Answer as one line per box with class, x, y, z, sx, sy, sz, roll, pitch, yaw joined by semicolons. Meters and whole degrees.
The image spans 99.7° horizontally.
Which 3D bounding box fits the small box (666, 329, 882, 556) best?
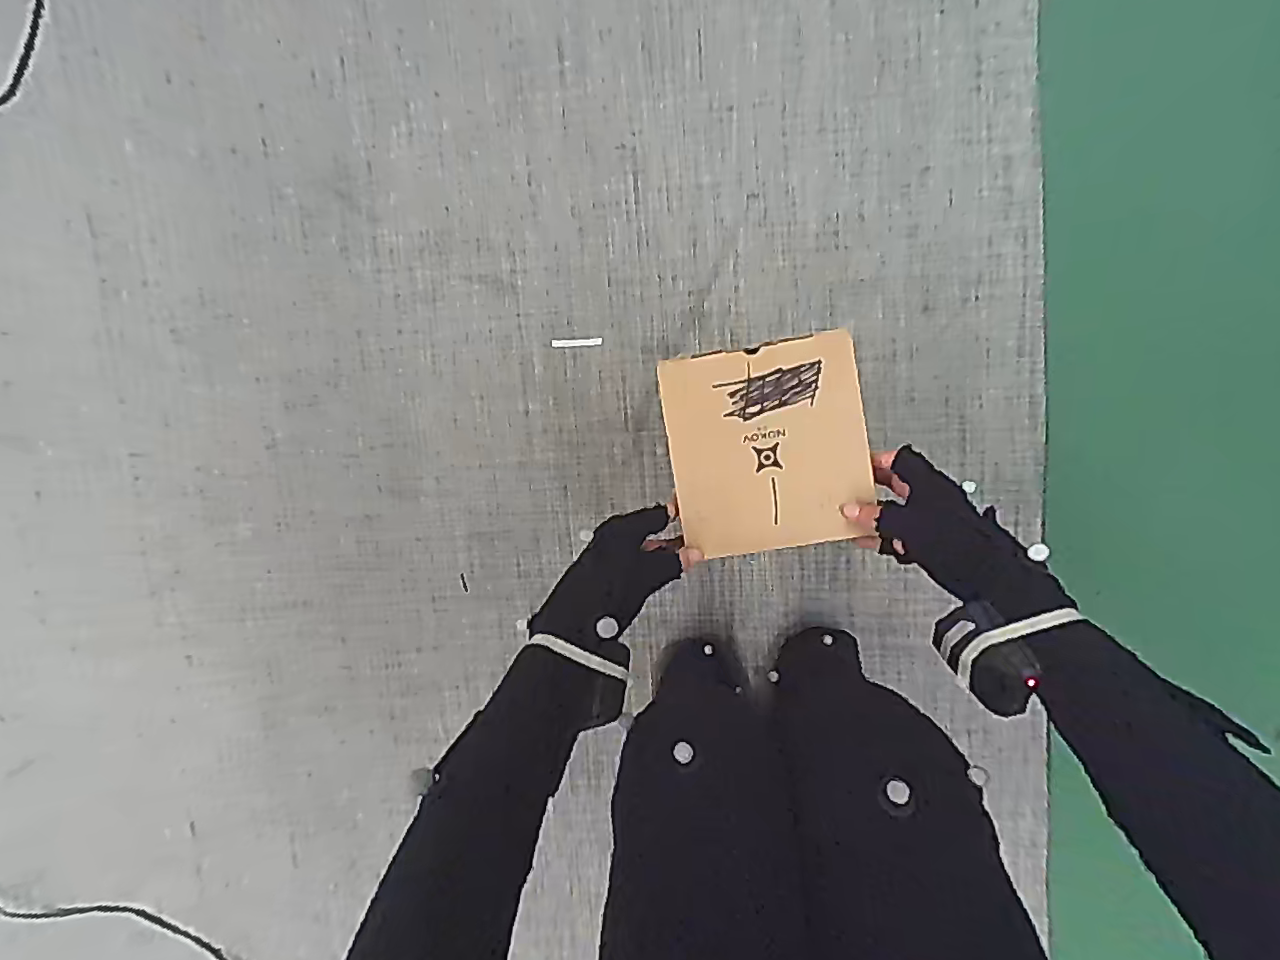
small box;0.117;-0.033;0.539;0.168;0.176;0.179;-9;92;5
